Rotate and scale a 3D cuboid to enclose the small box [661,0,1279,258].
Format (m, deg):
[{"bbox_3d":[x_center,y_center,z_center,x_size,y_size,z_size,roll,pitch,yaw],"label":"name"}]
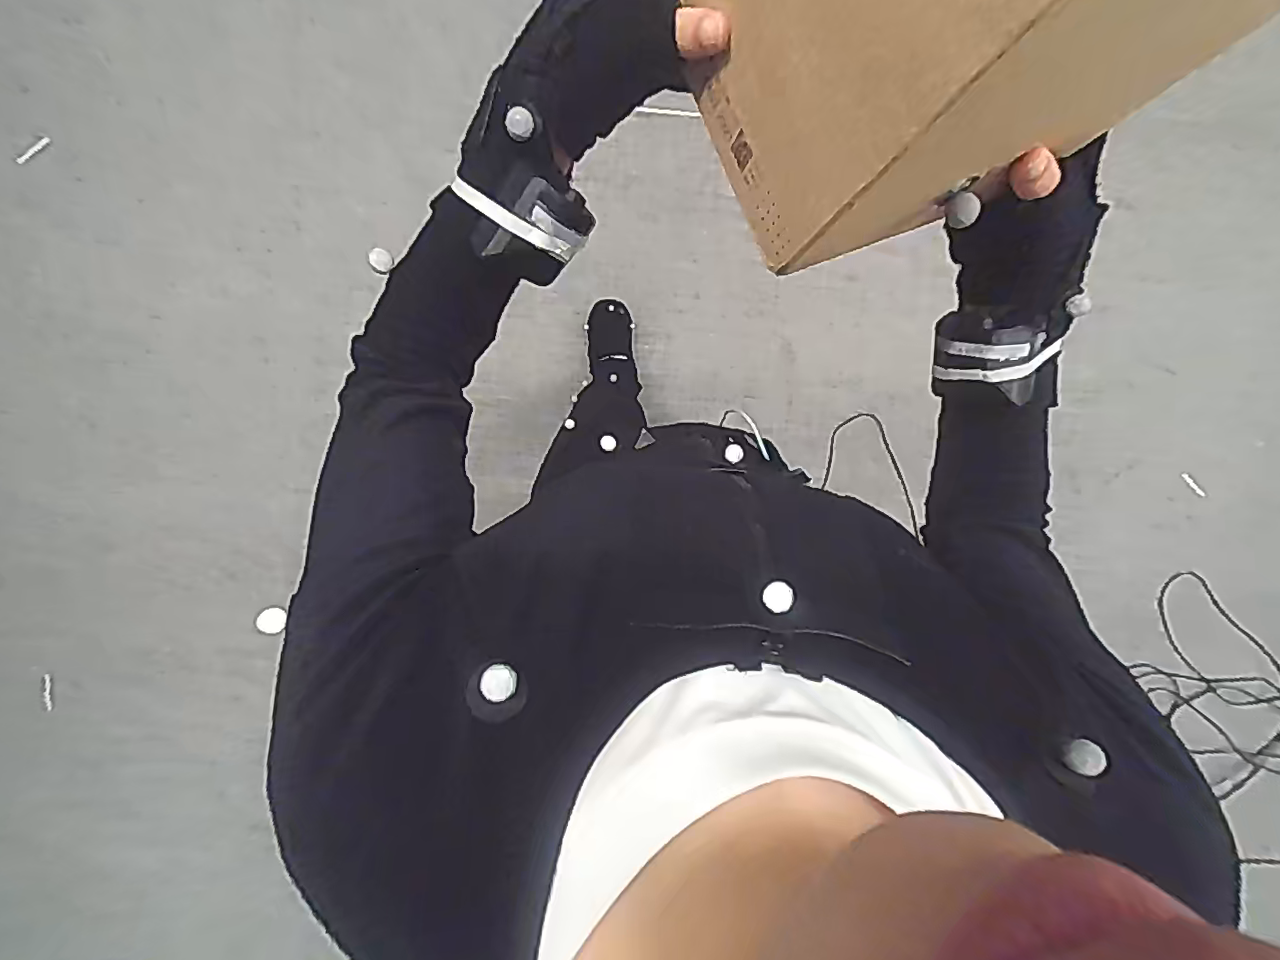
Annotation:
[{"bbox_3d":[0.132,-0.223,0.224,0.179,0.176,0.168,-23,91,-13],"label":"small box"}]
